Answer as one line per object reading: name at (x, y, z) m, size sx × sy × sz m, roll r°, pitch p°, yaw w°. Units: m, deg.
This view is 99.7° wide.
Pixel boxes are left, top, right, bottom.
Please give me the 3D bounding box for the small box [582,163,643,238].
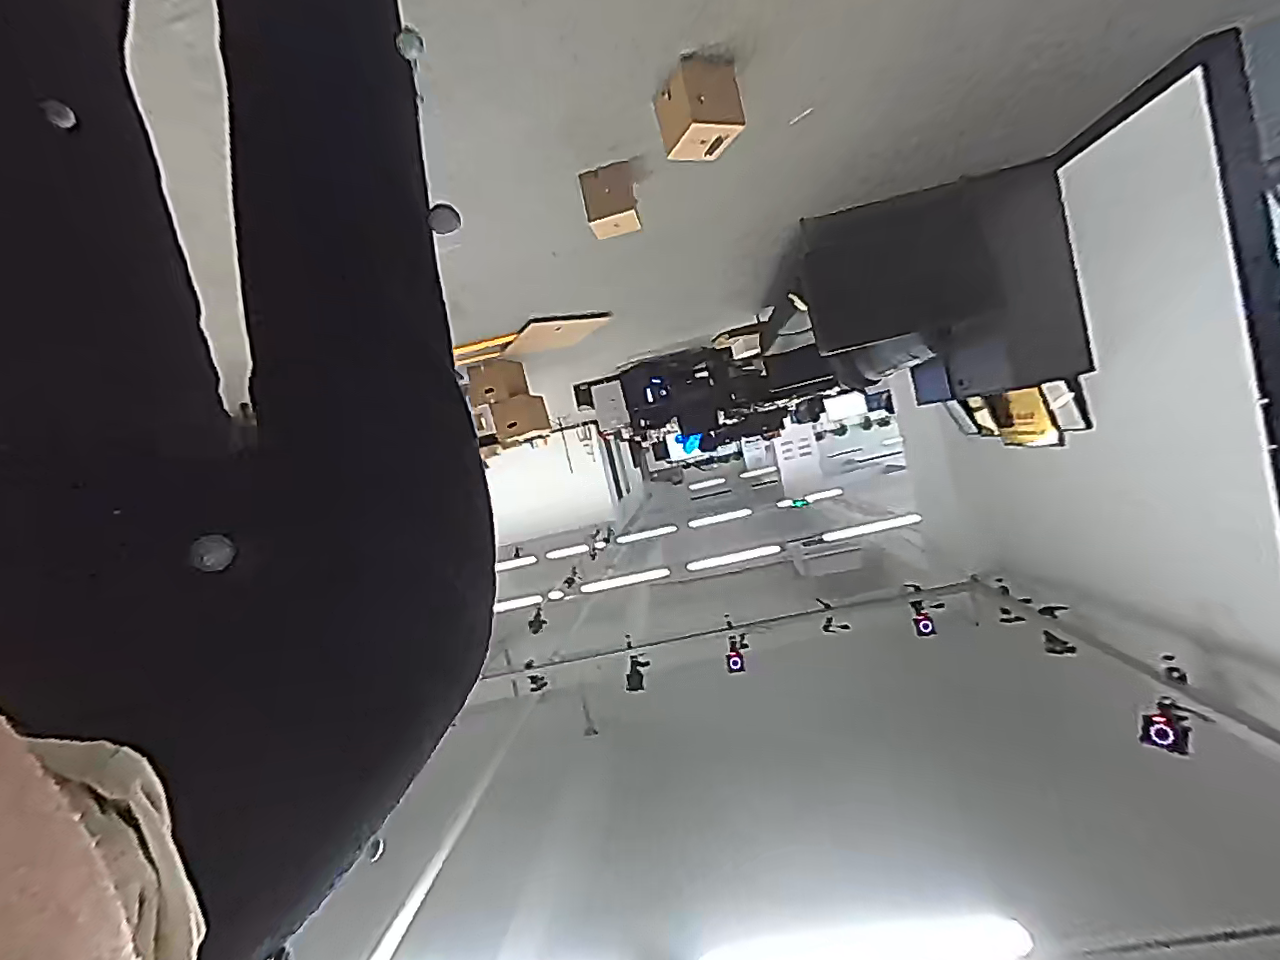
small box at (-0.097, -0.993, 1.918) m, size 0.168 × 0.176 × 0.179 m, roll -12°, pitch -176°, yaw 9°
